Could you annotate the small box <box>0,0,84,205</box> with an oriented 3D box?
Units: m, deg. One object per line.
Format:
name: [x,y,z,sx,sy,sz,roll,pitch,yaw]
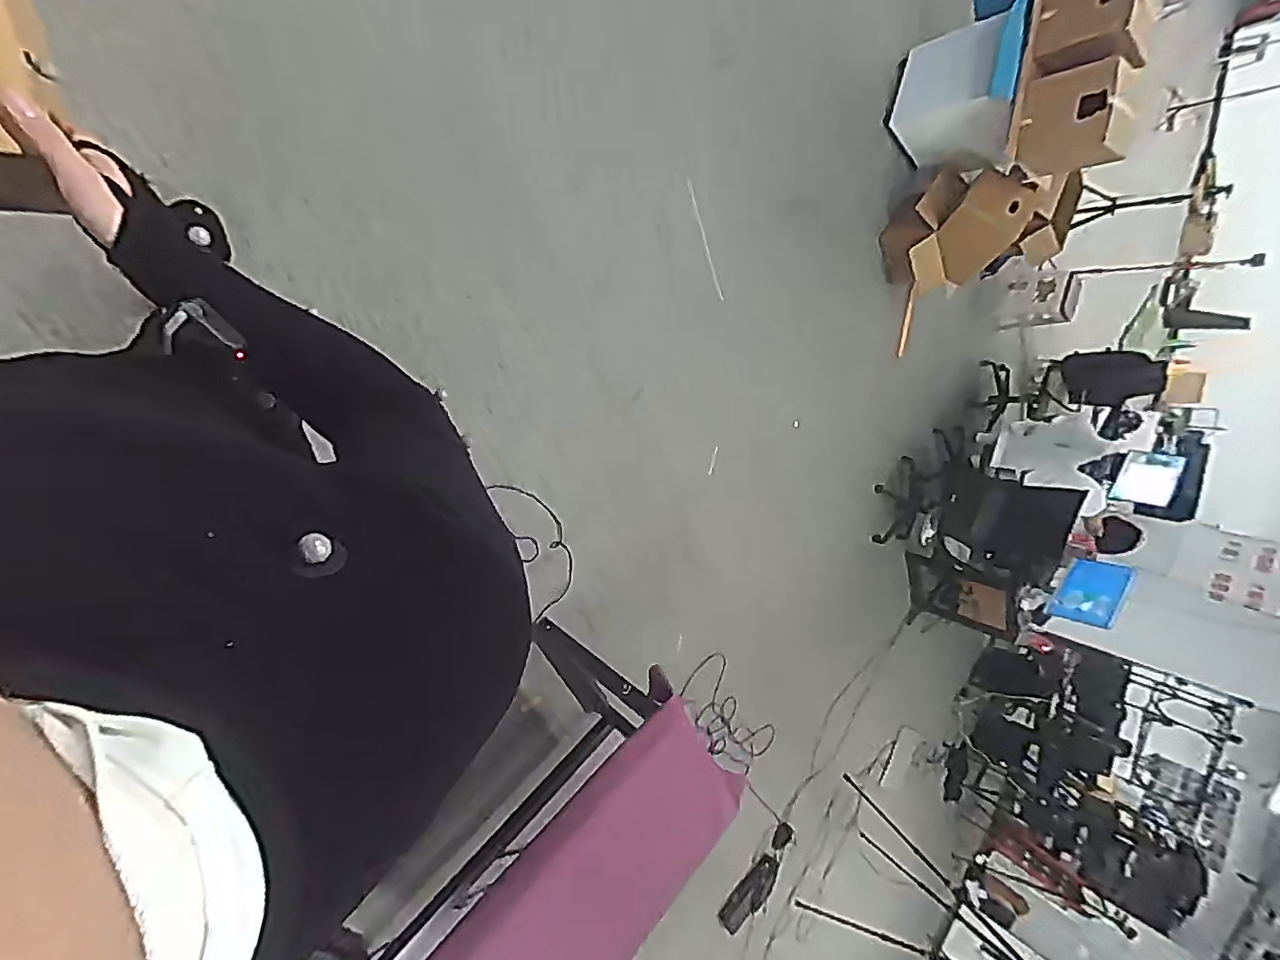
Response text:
small box: [-0.577,-0.336,0.418,0.168,0.176,0.179,-14,107,-36]
